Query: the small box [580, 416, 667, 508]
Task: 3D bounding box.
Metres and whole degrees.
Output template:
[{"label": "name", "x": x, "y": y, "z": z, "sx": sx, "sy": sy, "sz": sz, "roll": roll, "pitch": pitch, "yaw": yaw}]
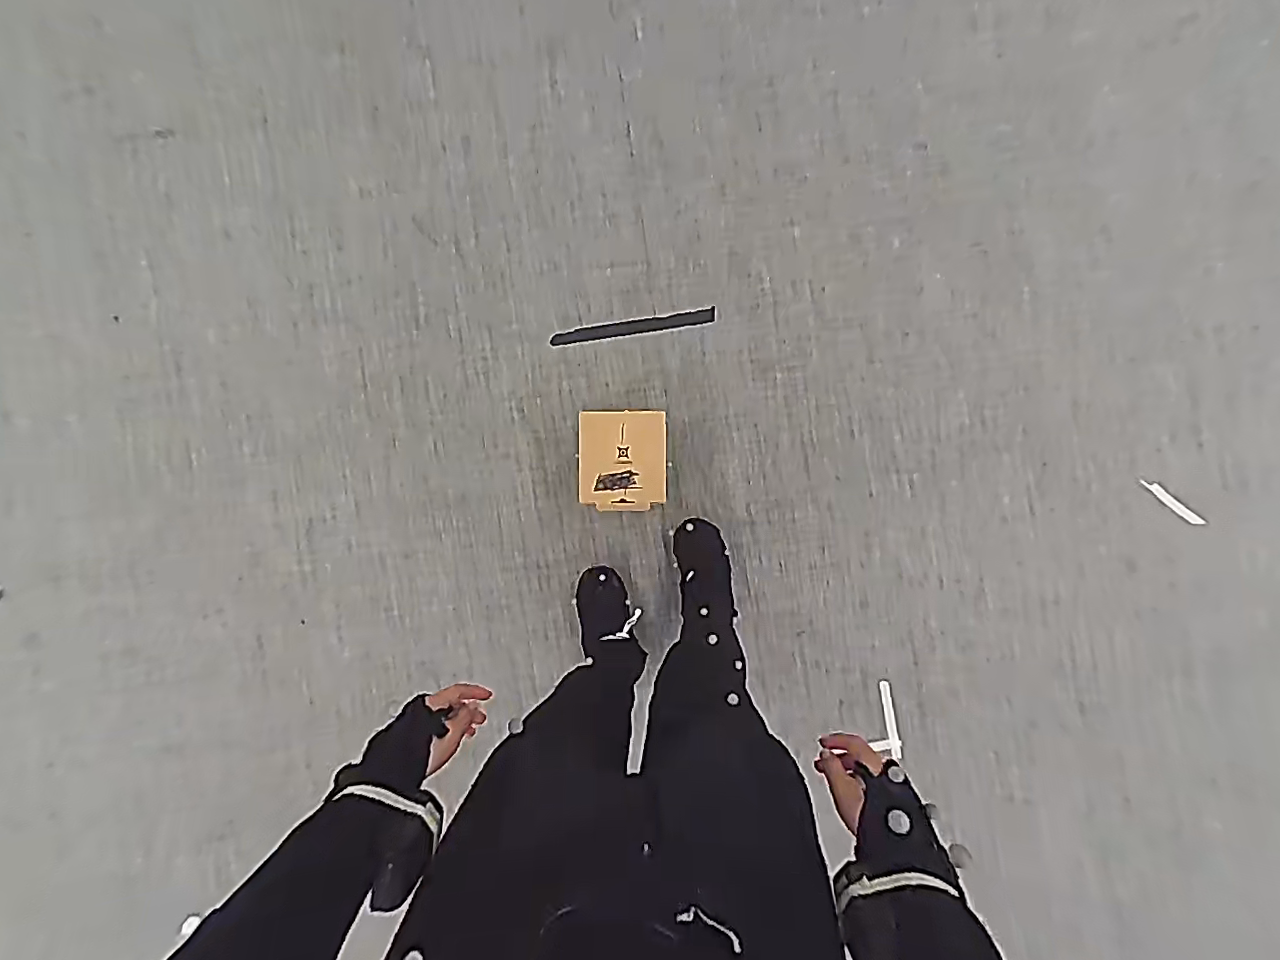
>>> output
[{"label": "small box", "x": -0.031, "y": -0.034, "z": 1.098, "sx": 0.168, "sy": 0.176, "sz": 0.179, "roll": 0, "pitch": 89, "yaw": -1}]
